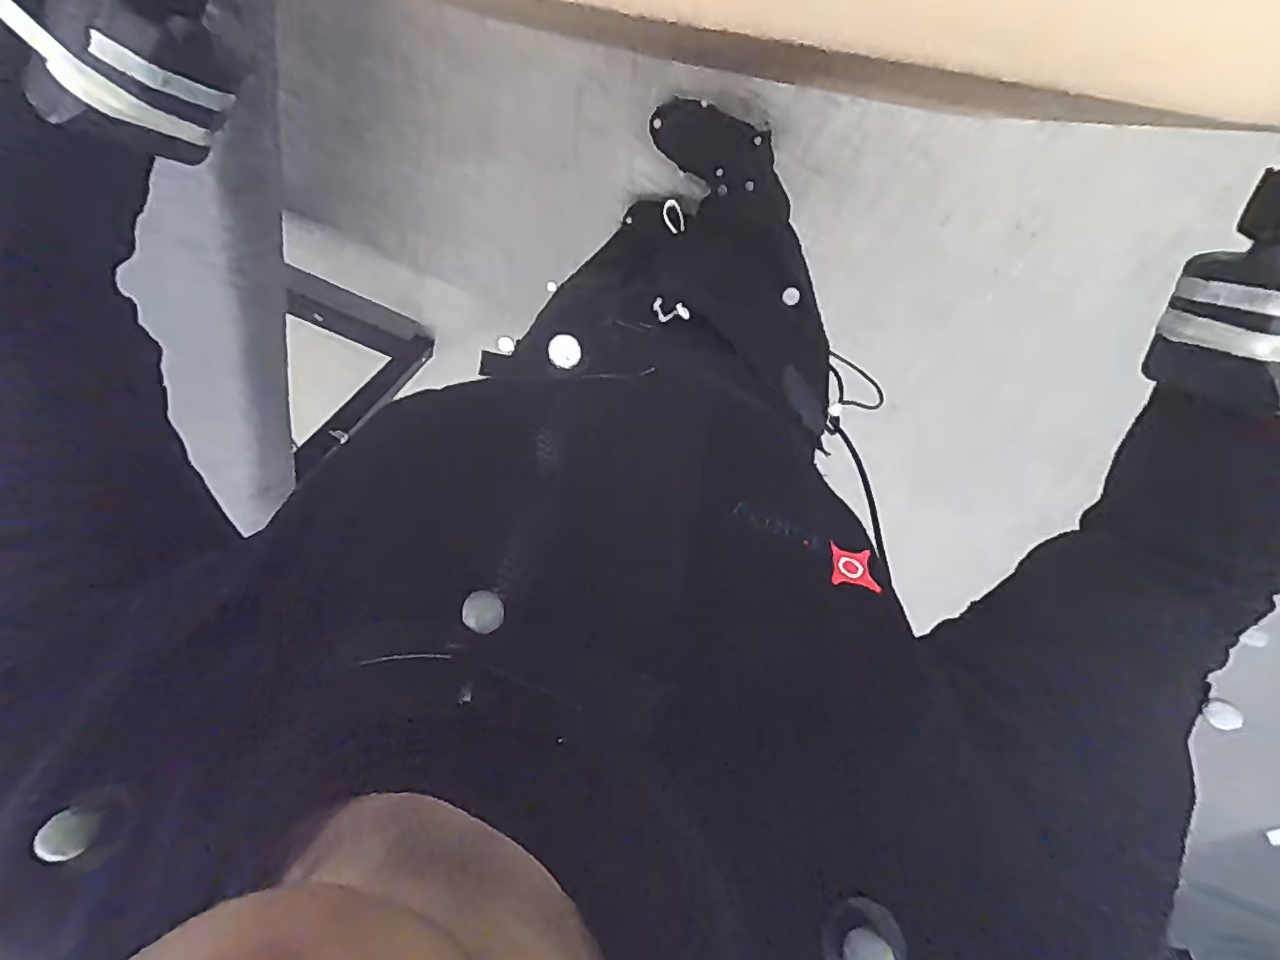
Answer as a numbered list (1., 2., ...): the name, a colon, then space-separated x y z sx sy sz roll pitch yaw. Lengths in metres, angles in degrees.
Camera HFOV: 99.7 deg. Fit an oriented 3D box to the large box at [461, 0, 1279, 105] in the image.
1. large box: 0.103 -0.395 0.258 0.408 0.320 0.320 10 125 0
